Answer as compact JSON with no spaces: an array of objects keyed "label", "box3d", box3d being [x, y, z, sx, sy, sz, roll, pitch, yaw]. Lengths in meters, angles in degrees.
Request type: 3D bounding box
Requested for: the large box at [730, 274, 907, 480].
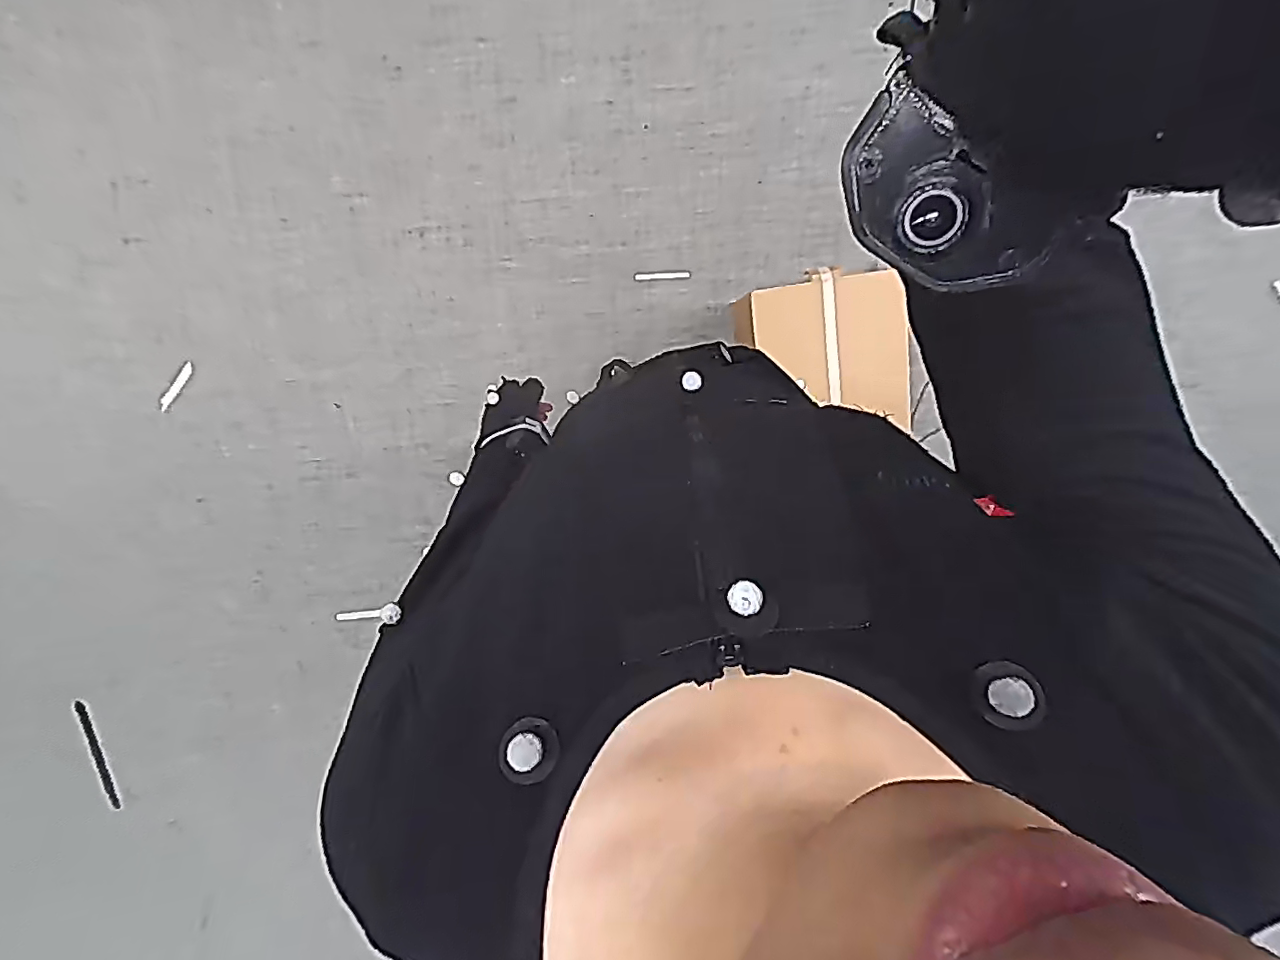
[{"label":"large box","box3d":[0.413,-0.250,1.304,0.320,0.320,0.408,-8,104,4]}]
